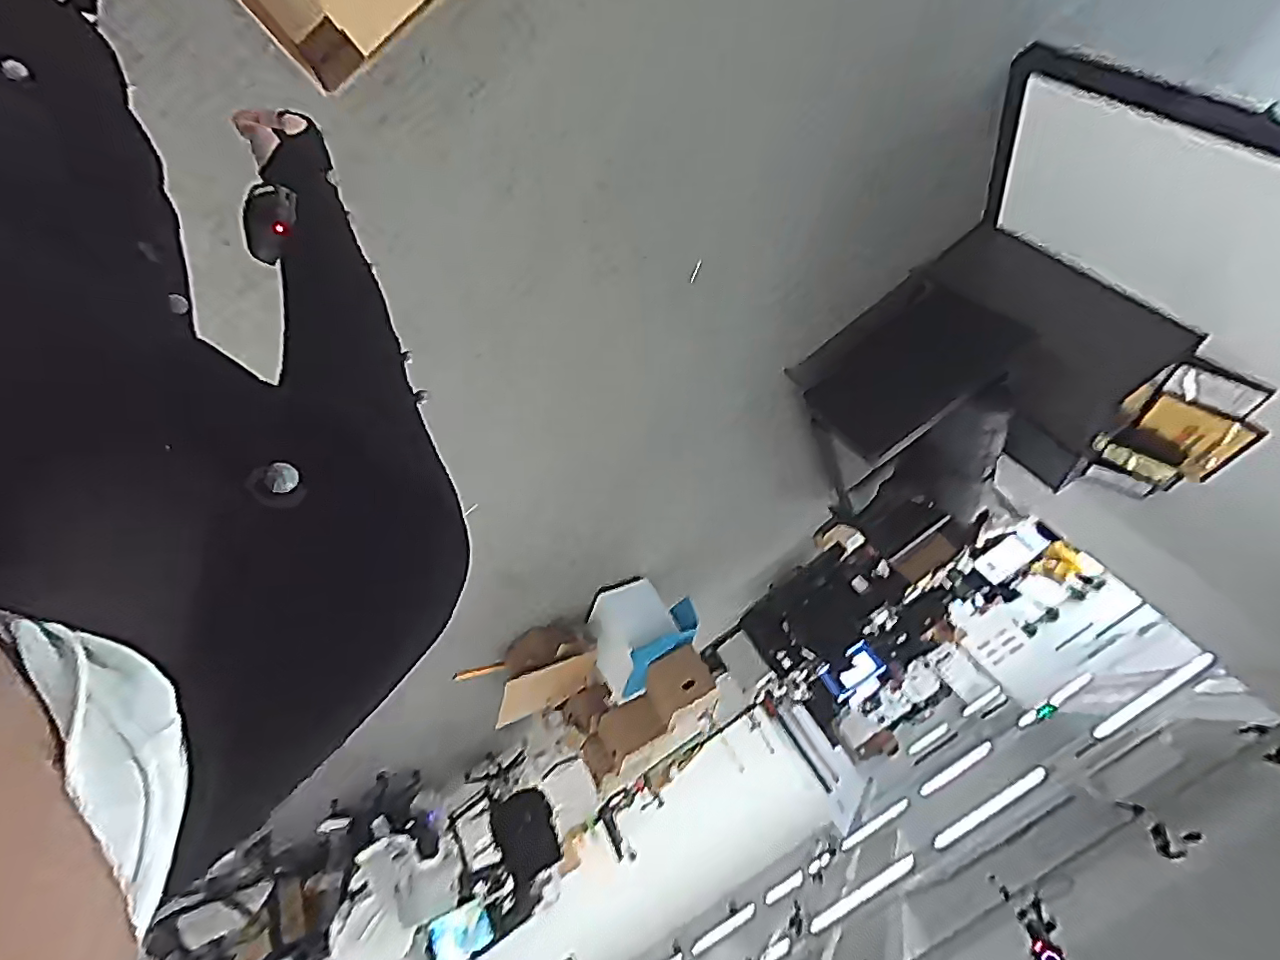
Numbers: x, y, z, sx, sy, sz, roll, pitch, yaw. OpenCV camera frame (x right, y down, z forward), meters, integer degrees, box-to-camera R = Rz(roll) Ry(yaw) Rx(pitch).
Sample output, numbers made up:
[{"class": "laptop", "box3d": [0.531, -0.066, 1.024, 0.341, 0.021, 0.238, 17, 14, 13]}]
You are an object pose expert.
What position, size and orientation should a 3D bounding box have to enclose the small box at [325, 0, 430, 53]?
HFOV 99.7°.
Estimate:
[{"class": "small box", "box3d": [-0.438, -0.810, 0.819, 0.168, 0.176, 0.179, -37, 149, 6]}]
